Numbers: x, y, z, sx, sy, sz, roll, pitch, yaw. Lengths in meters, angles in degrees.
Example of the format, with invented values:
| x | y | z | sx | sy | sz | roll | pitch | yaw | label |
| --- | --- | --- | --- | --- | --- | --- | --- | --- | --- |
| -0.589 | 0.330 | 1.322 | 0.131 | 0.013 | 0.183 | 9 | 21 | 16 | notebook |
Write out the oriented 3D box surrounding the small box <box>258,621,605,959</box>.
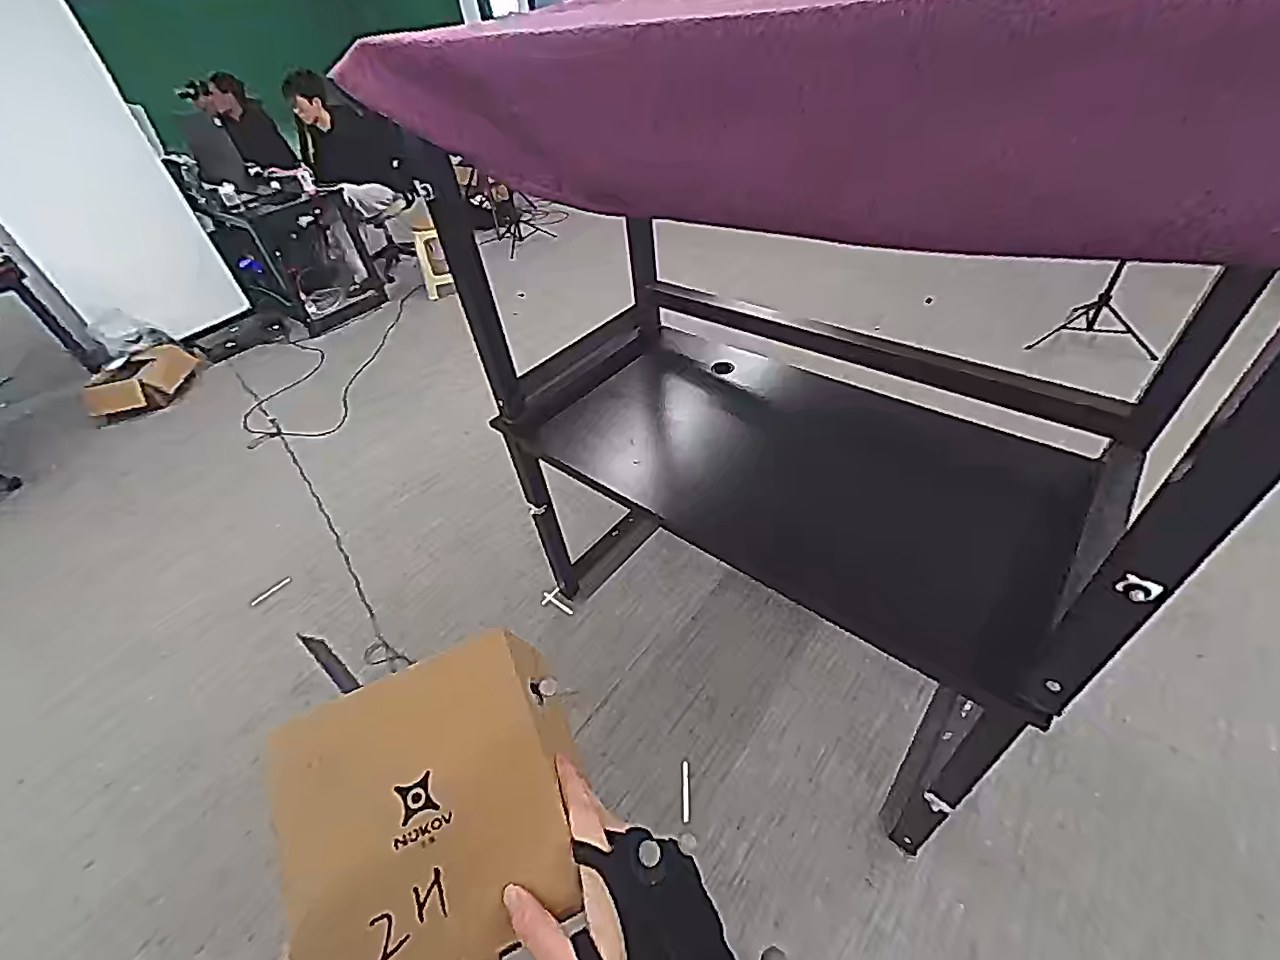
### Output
| x | y | z | sx | sy | sz | roll | pitch | yaw | label |
| --- | --- | --- | --- | --- | --- | --- | --- | --- | --- |
| -0.133 | 0.228 | 0.393 | 0.168 | 0.176 | 0.179 | -22 | 67 | -8 | small box |
